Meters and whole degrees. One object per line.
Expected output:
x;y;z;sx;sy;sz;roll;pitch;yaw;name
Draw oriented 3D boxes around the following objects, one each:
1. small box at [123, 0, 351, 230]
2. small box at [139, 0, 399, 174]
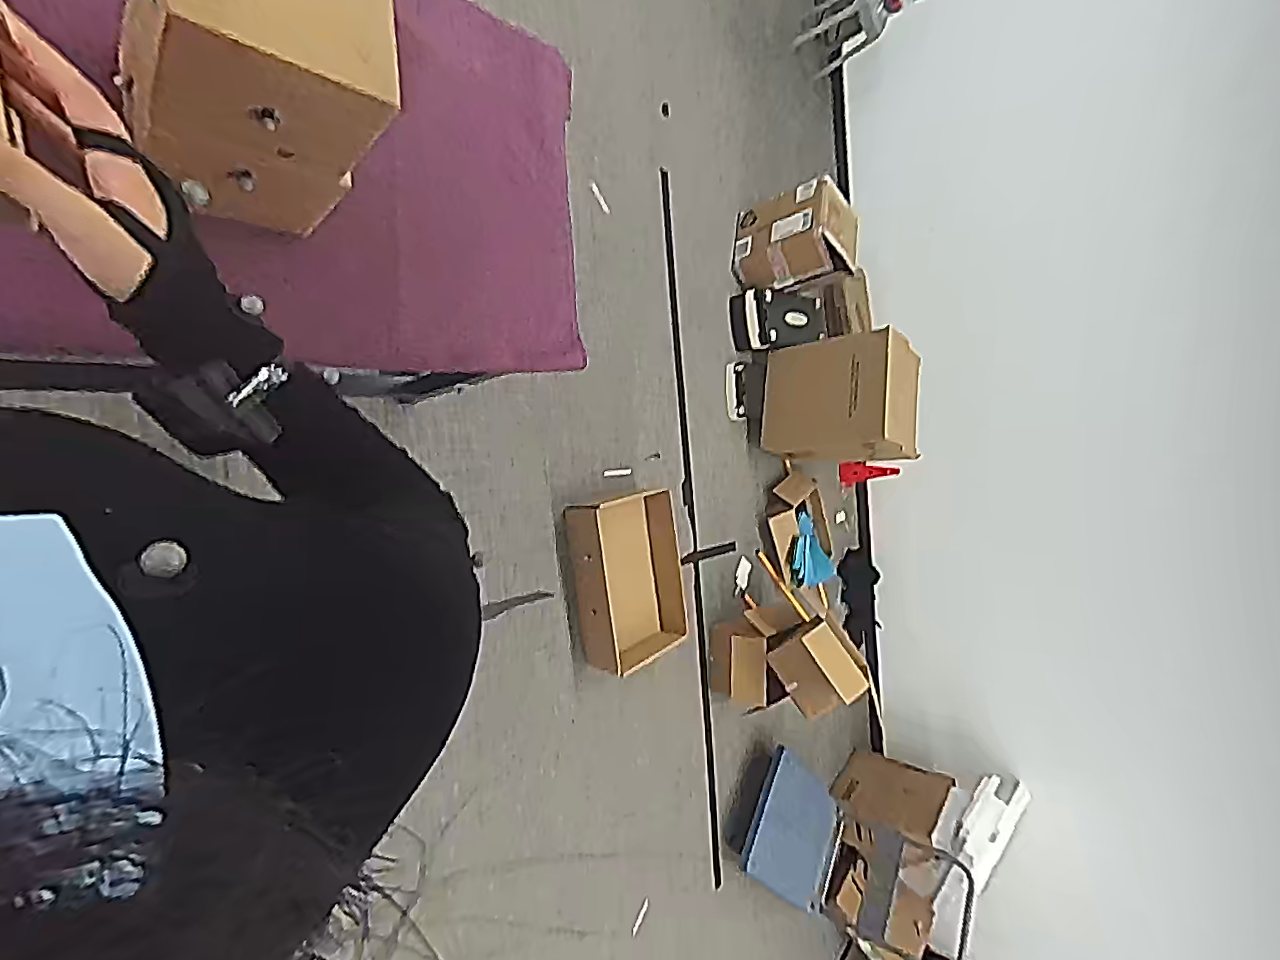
-0.456;-0.407;0.615;0.179;0.176;0.168;-6;92;-46;small box
-0.341;-0.420;0.497;0.168;0.176;0.179;-6;92;-47;small box
